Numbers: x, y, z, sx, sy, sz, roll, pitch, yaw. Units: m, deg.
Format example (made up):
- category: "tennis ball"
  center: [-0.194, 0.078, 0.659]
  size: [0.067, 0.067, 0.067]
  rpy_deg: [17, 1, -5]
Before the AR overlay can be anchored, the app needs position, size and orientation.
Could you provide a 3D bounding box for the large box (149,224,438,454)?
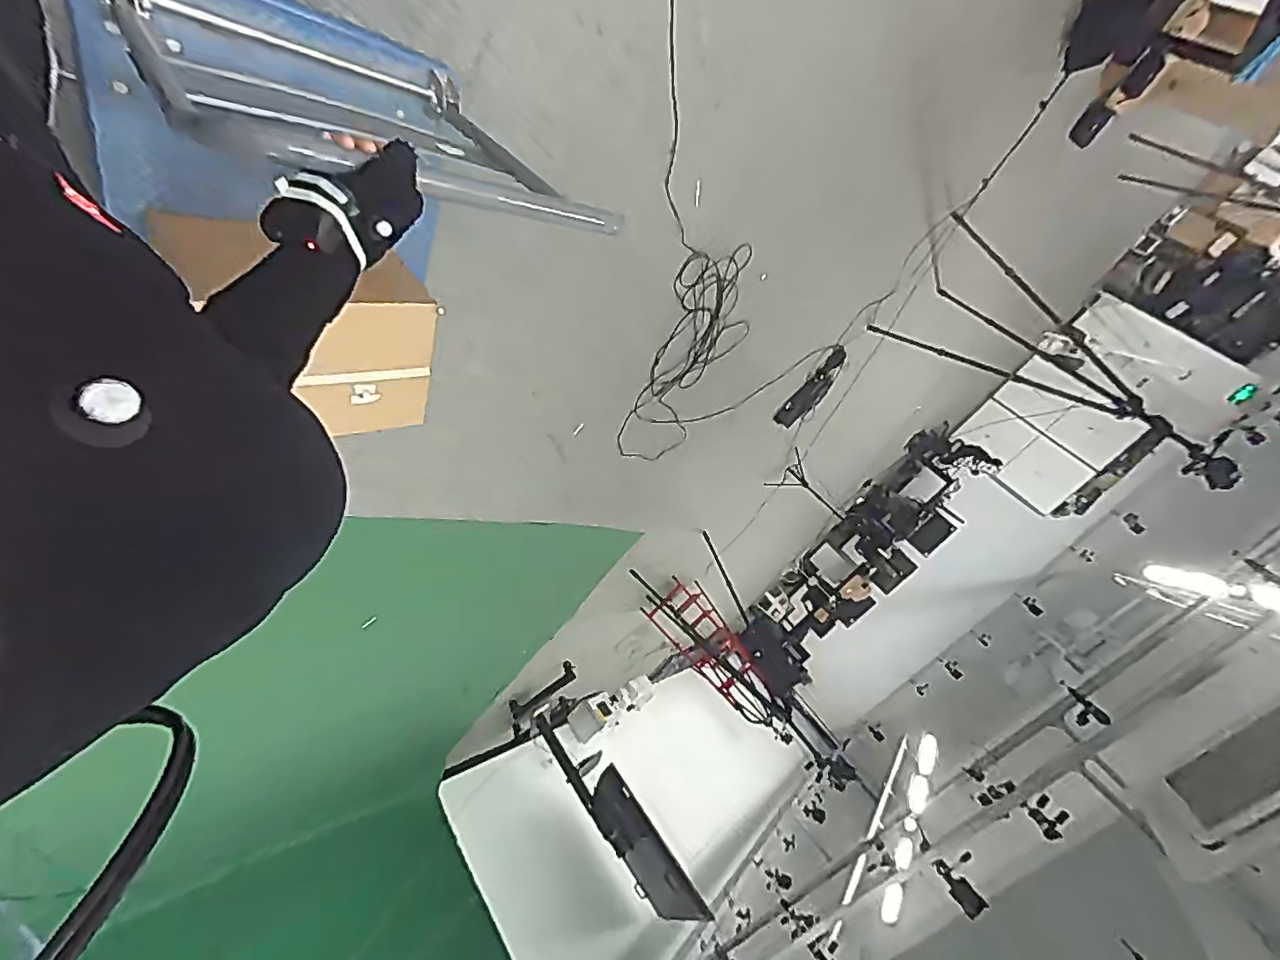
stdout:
- category: "large box"
  center: [-0.689, -0.302, 1.116]
  size: [0.408, 0.320, 0.320]
  rpy_deg: [-18, 145, -41]
